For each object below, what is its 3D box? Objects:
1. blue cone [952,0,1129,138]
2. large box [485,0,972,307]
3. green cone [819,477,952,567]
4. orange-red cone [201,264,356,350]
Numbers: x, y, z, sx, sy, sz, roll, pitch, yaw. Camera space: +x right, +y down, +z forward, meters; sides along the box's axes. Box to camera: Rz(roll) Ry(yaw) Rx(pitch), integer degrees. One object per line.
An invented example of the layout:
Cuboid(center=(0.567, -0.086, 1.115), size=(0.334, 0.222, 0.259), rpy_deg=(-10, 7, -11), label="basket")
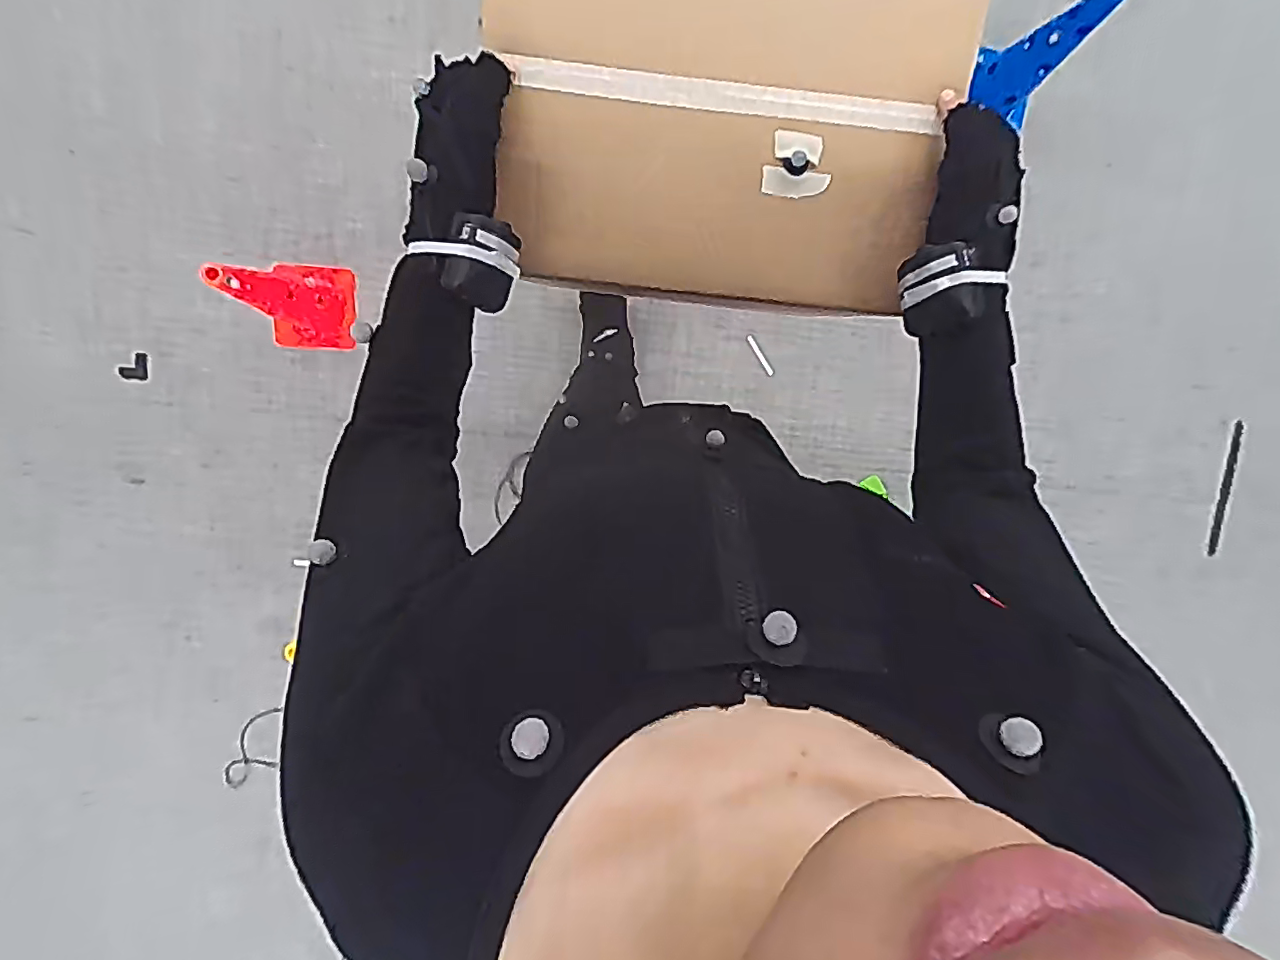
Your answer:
Cuboid(center=(0.898, -0.953, 1.202), size=(0.192, 0.380, 0.193), rpy_deg=(9, 98, -5), label="blue cone")
Cuboid(center=(0.064, -0.374, 0.601), size=(0.408, 0.320, 0.320), rpy_deg=(5, 107, -3), label="large box")
Cuboid(center=(0.627, 0.140, 1.322), size=(0.202, 0.368, 0.200), rpy_deg=(-32, 99, 0), label="green cone")
Cuboid(center=(-0.805, -0.403, 1.180), size=(0.198, 0.360, 0.199), rpy_deg=(3, 99, -2), label="orange-red cone")
